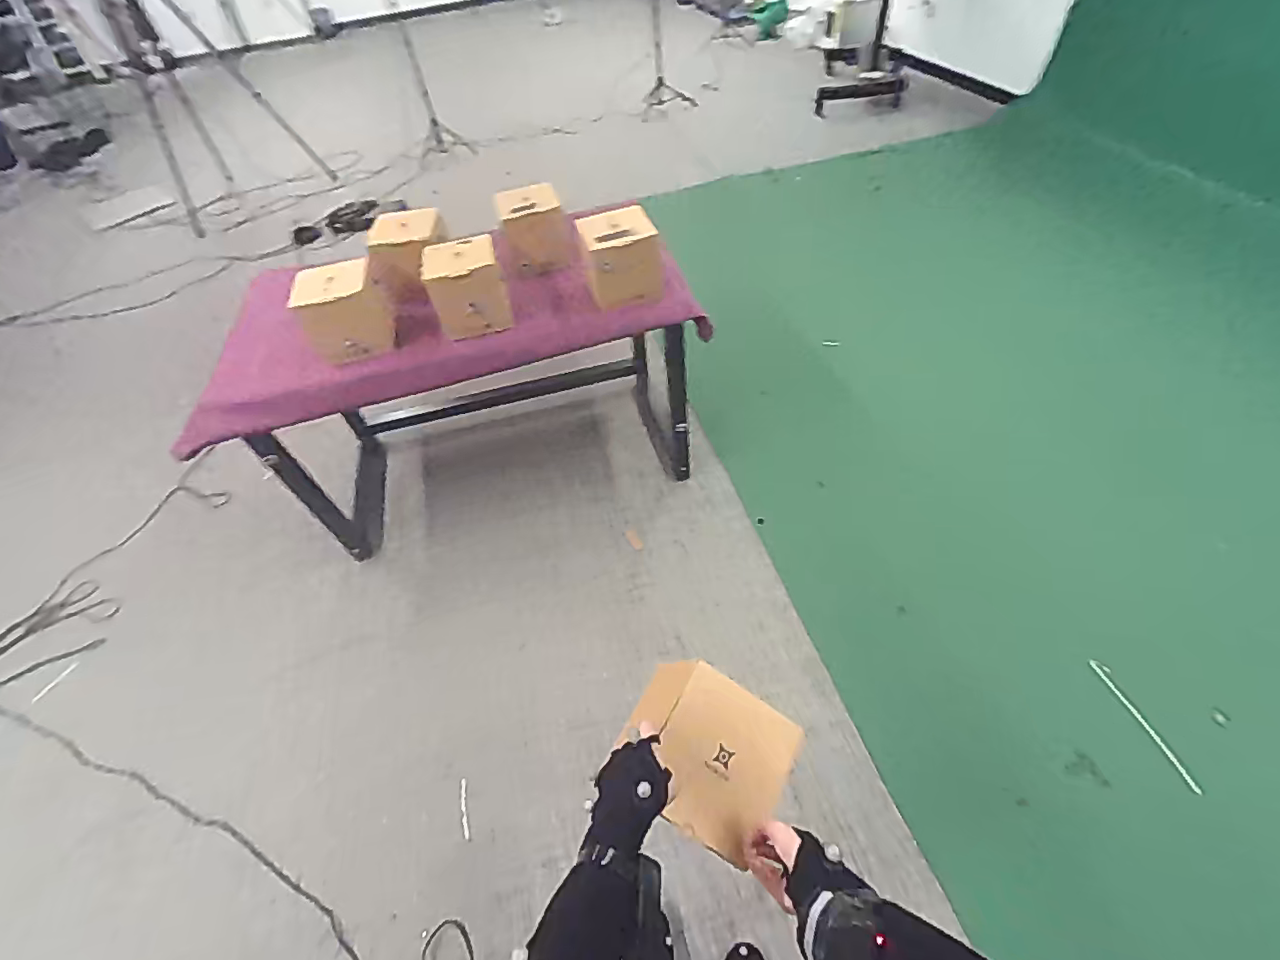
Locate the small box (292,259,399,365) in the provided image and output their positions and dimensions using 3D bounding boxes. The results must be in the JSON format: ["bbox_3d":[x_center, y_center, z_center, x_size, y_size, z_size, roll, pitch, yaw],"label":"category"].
[{"bbox_3d":[-0.708,-0.410,1.322,0.168,0.176,0.179,-15,50,-5],"label":"small box"}]

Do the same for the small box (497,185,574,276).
[{"bbox_3d":[-0.288,-0.689,1.509,0.168,0.176,0.179,-15,49,-7],"label":"small box"}]

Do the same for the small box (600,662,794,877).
[{"bbox_3d":[0.065,0.363,0.712,0.168,0.176,0.179,34,64,-1],"label":"small box"}]

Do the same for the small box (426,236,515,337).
[{"bbox_3d":[-0.415,-0.473,1.341,0.168,0.176,0.179,-14,49,-5],"label":"small box"}]

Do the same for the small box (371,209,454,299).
[{"bbox_3d":[-0.603,-0.612,1.482,0.168,0.176,0.179,-6,50,0],"label":"small box"}]
